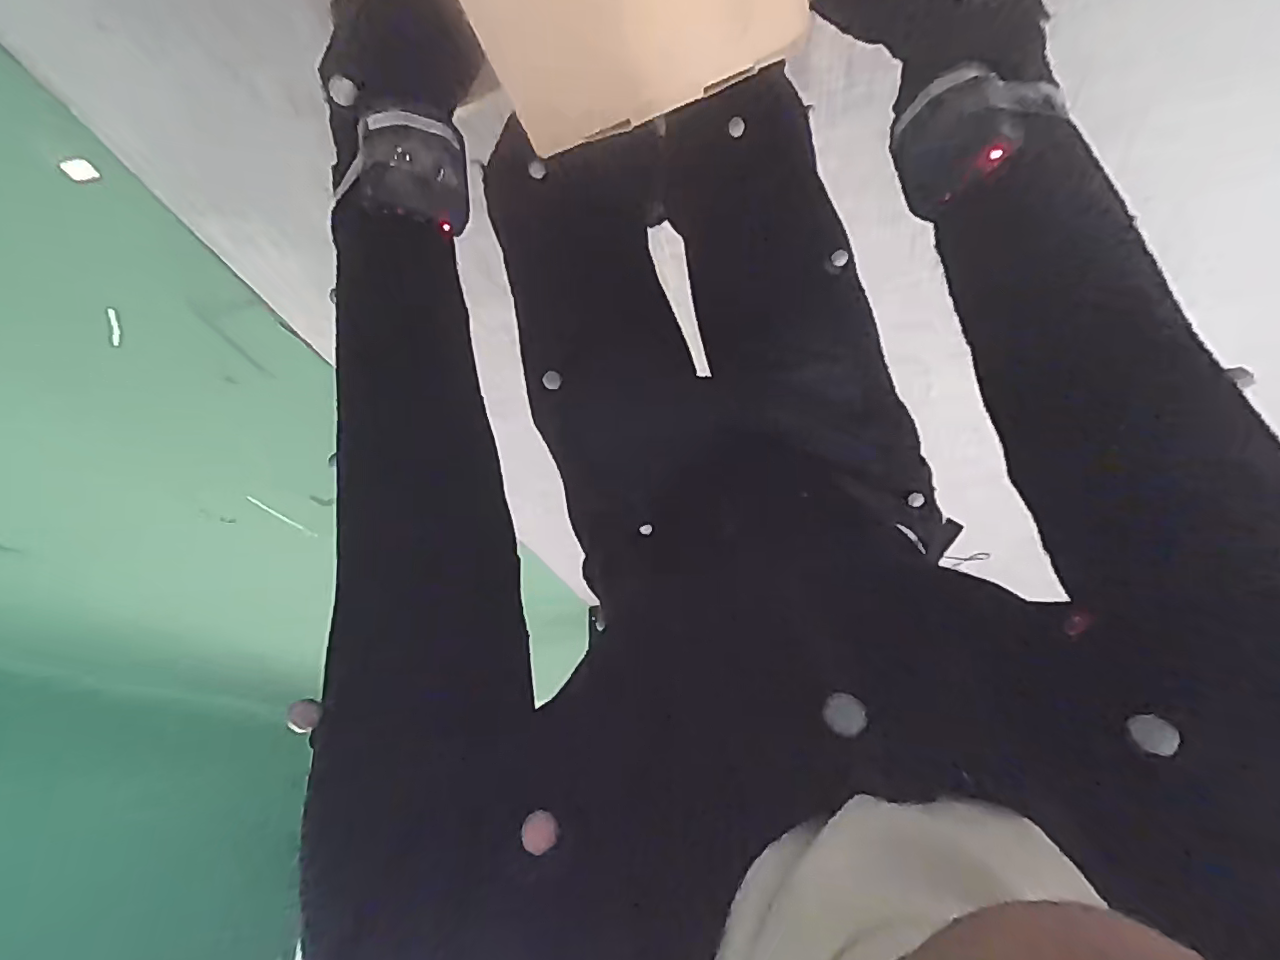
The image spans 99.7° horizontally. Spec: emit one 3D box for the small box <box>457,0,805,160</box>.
[{"bbox_3d":[-0.018,-0.324,0.289,0.168,0.176,0.179,-14,145,16],"label":"small box"}]
